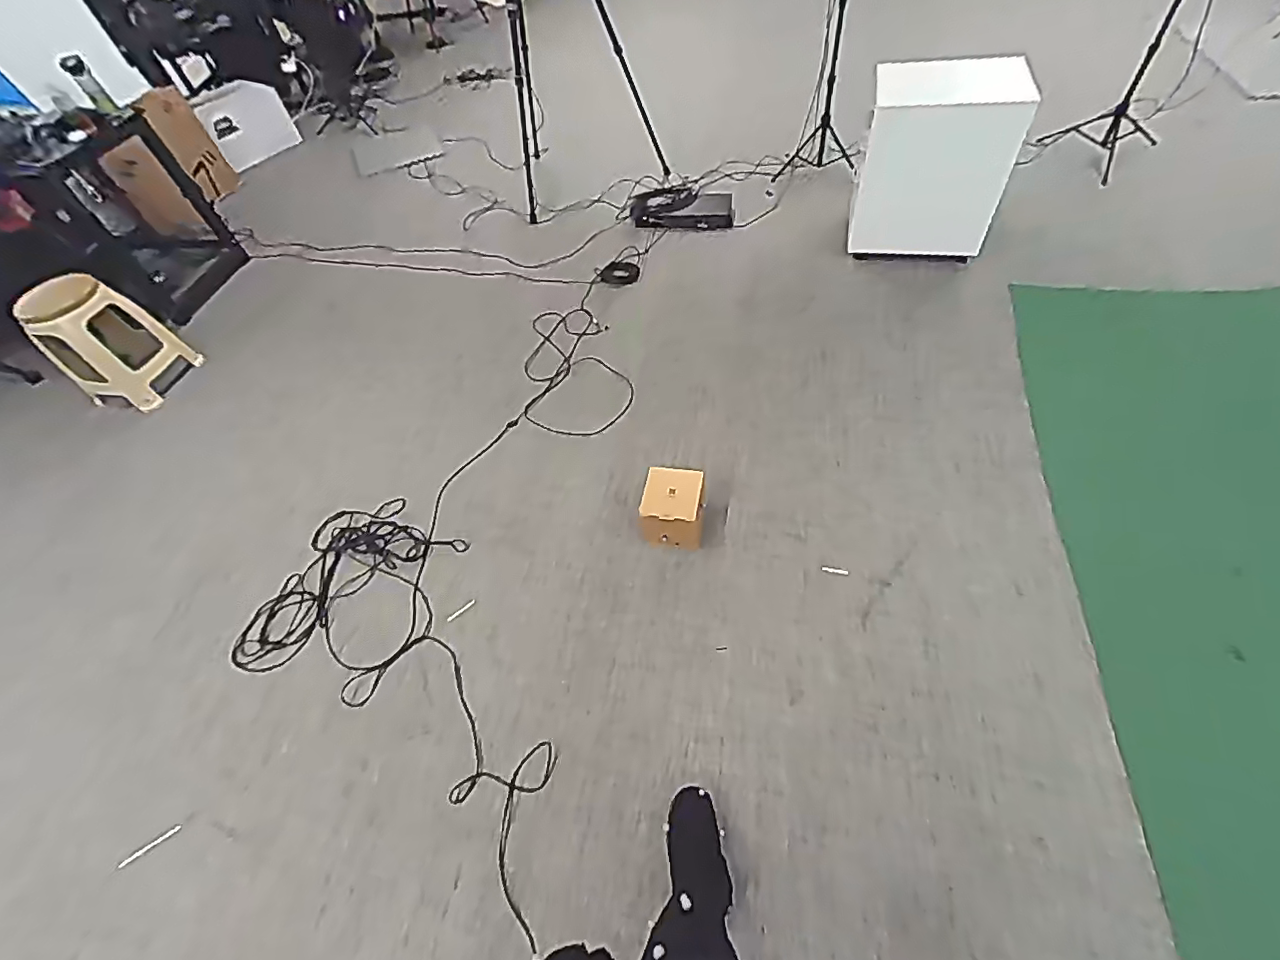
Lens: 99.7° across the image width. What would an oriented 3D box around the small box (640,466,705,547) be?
[{"bbox_3d":[0.105,0.081,1.638,0.168,0.176,0.179,6,55,13],"label":"small box"}]
